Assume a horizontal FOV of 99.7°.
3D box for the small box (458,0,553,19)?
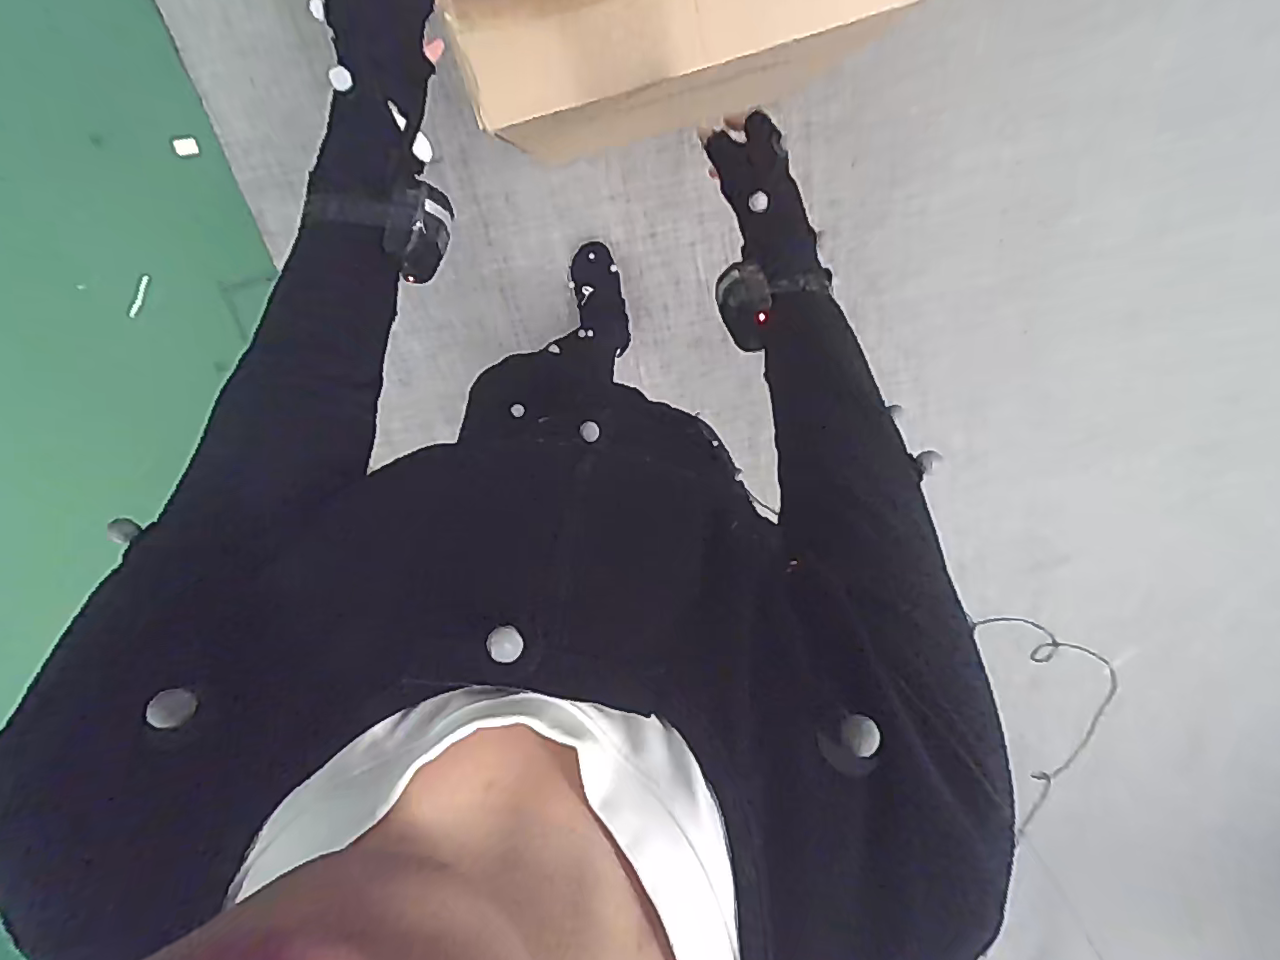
[{"bbox_3d":[-0.106,-0.535,0.462,0.179,0.176,0.168,-13,120,7],"label":"small box"}]
